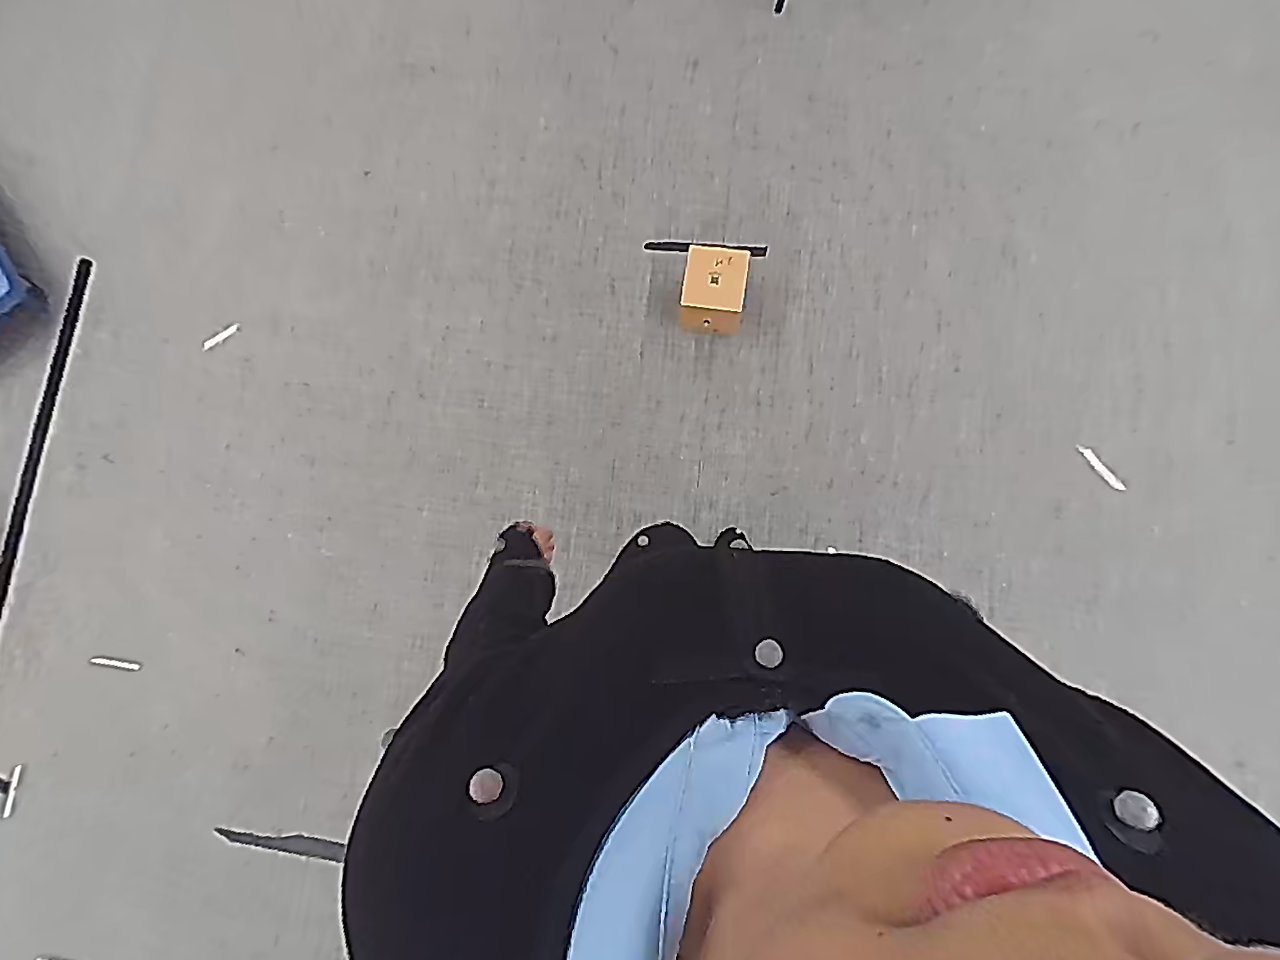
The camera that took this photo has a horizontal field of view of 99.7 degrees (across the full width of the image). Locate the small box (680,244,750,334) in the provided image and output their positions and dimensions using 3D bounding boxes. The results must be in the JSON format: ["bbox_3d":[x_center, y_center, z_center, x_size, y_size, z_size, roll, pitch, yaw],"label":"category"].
[{"bbox_3d":[0.206,-0.527,1.514,0.168,0.176,0.179,9,83,5],"label":"small box"}]
